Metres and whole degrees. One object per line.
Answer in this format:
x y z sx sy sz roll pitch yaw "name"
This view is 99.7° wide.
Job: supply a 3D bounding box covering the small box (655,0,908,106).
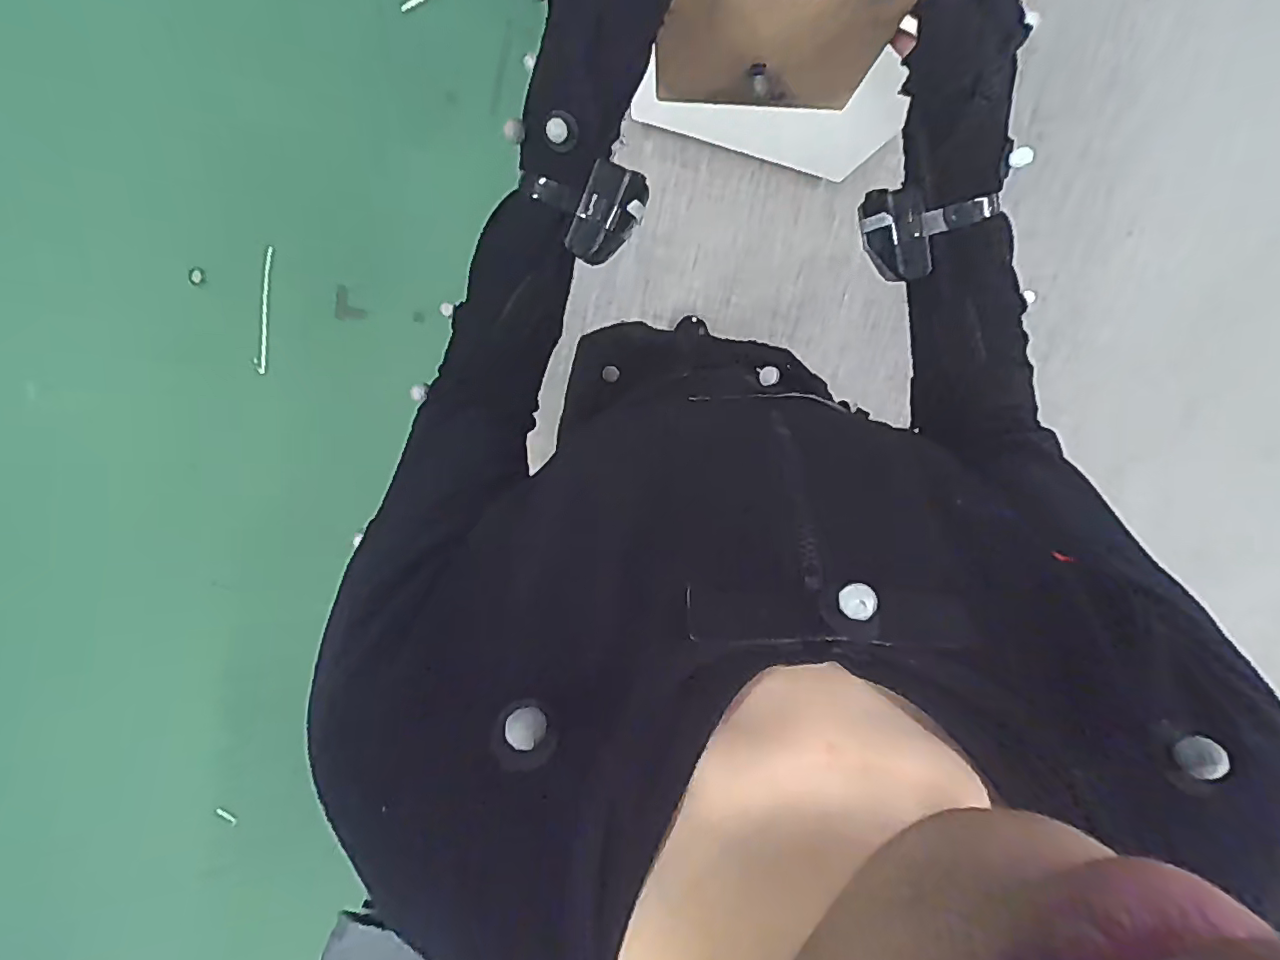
0.098 -0.403 0.377 0.168 0.176 0.179 5 101 2 "small box"
